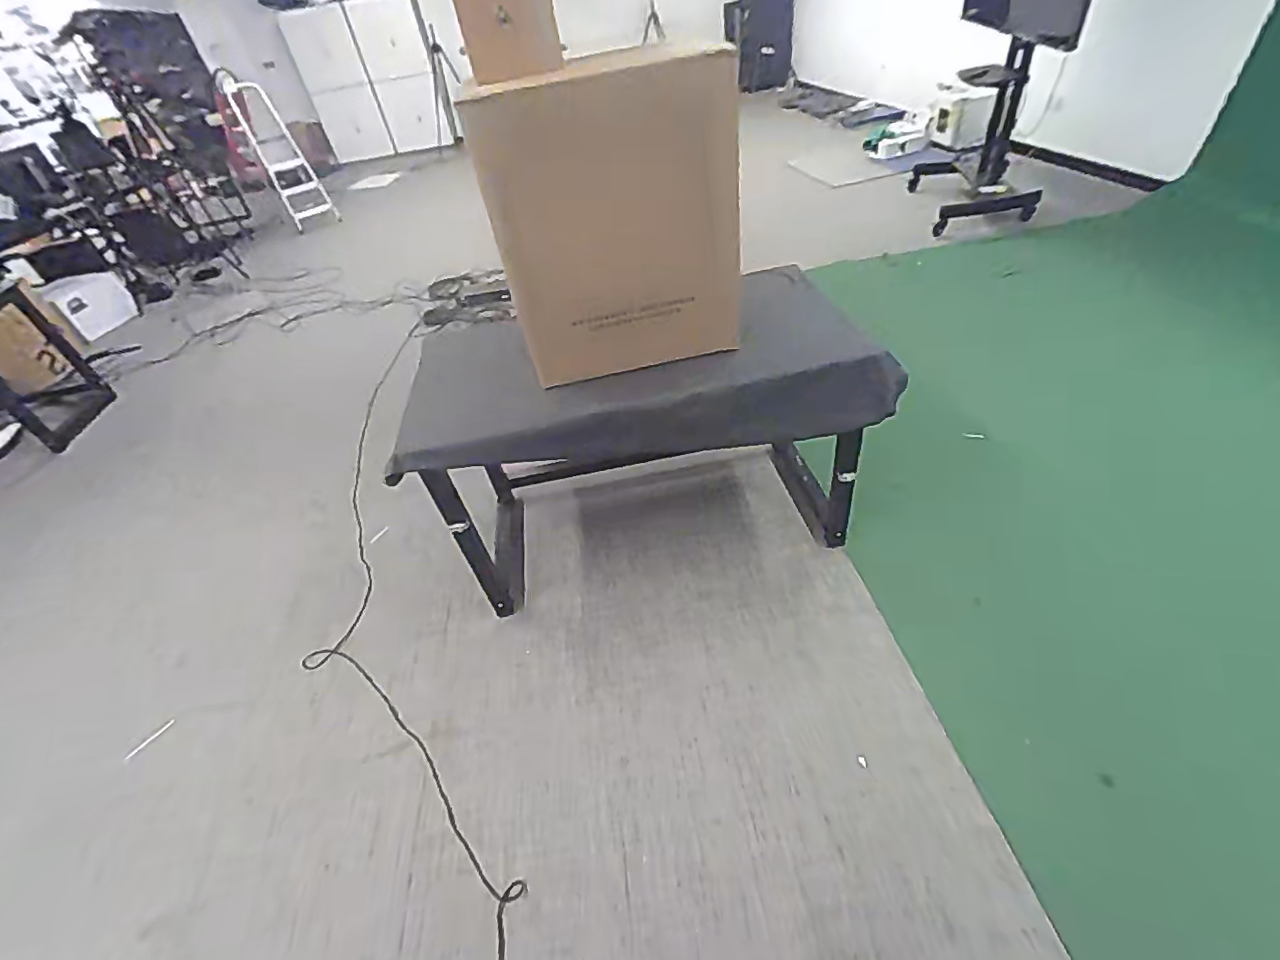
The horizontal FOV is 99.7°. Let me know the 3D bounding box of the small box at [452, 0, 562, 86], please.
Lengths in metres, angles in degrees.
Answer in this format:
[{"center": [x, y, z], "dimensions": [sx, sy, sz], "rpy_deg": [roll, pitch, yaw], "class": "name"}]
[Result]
[{"center": [-0.253, -0.880, 1.029], "dimensions": [0.179, 0.176, 0.168], "rpy_deg": [-15, 44, -2], "class": "small box"}]
